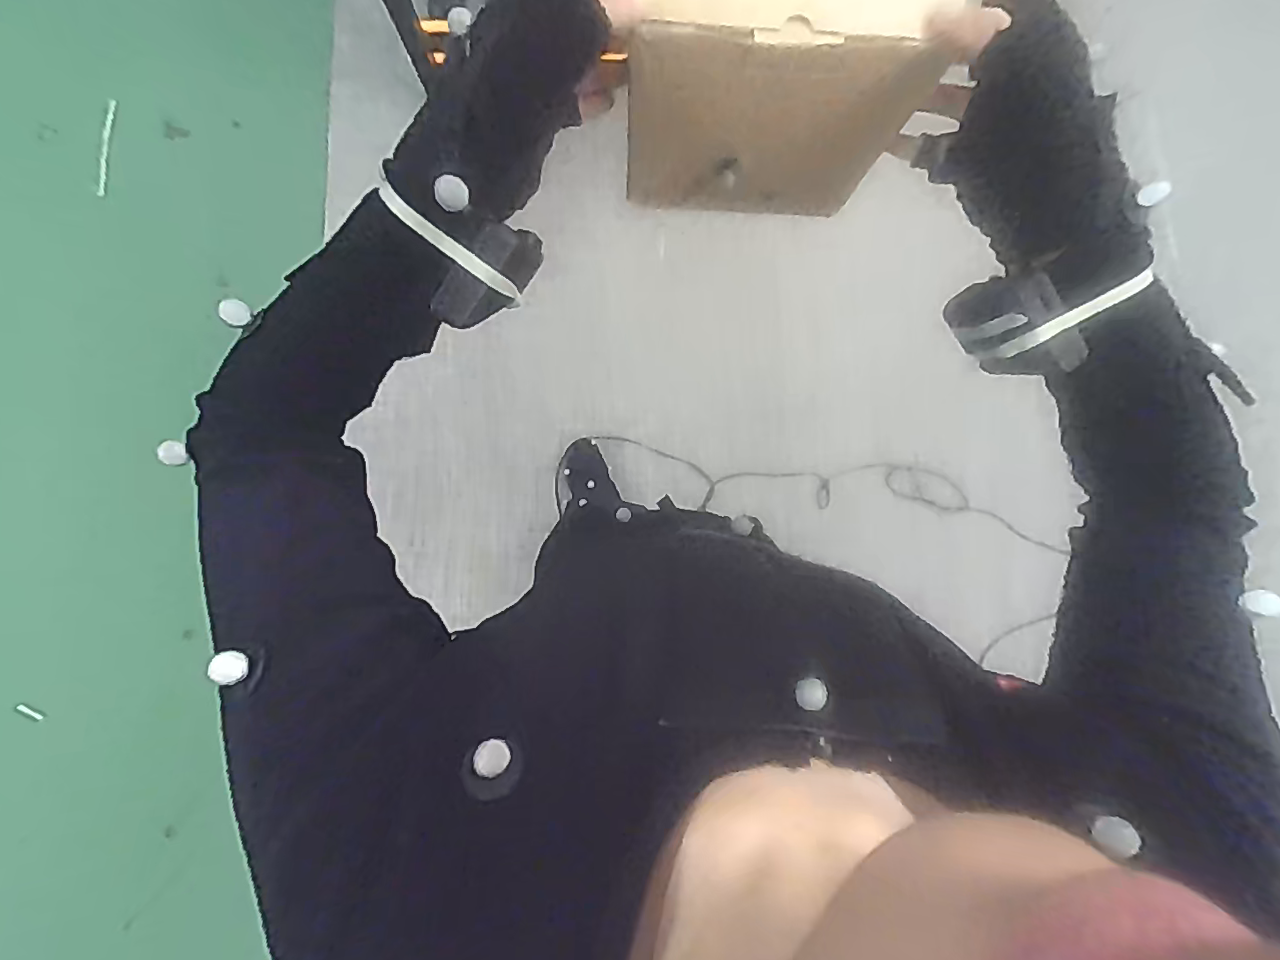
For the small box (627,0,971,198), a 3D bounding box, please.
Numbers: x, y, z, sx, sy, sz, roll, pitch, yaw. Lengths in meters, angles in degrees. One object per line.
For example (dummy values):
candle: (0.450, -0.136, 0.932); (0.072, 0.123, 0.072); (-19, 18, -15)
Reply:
small box: (0.077, -0.311, 0.339); (0.168, 0.176, 0.179); (1, 89, -2)
